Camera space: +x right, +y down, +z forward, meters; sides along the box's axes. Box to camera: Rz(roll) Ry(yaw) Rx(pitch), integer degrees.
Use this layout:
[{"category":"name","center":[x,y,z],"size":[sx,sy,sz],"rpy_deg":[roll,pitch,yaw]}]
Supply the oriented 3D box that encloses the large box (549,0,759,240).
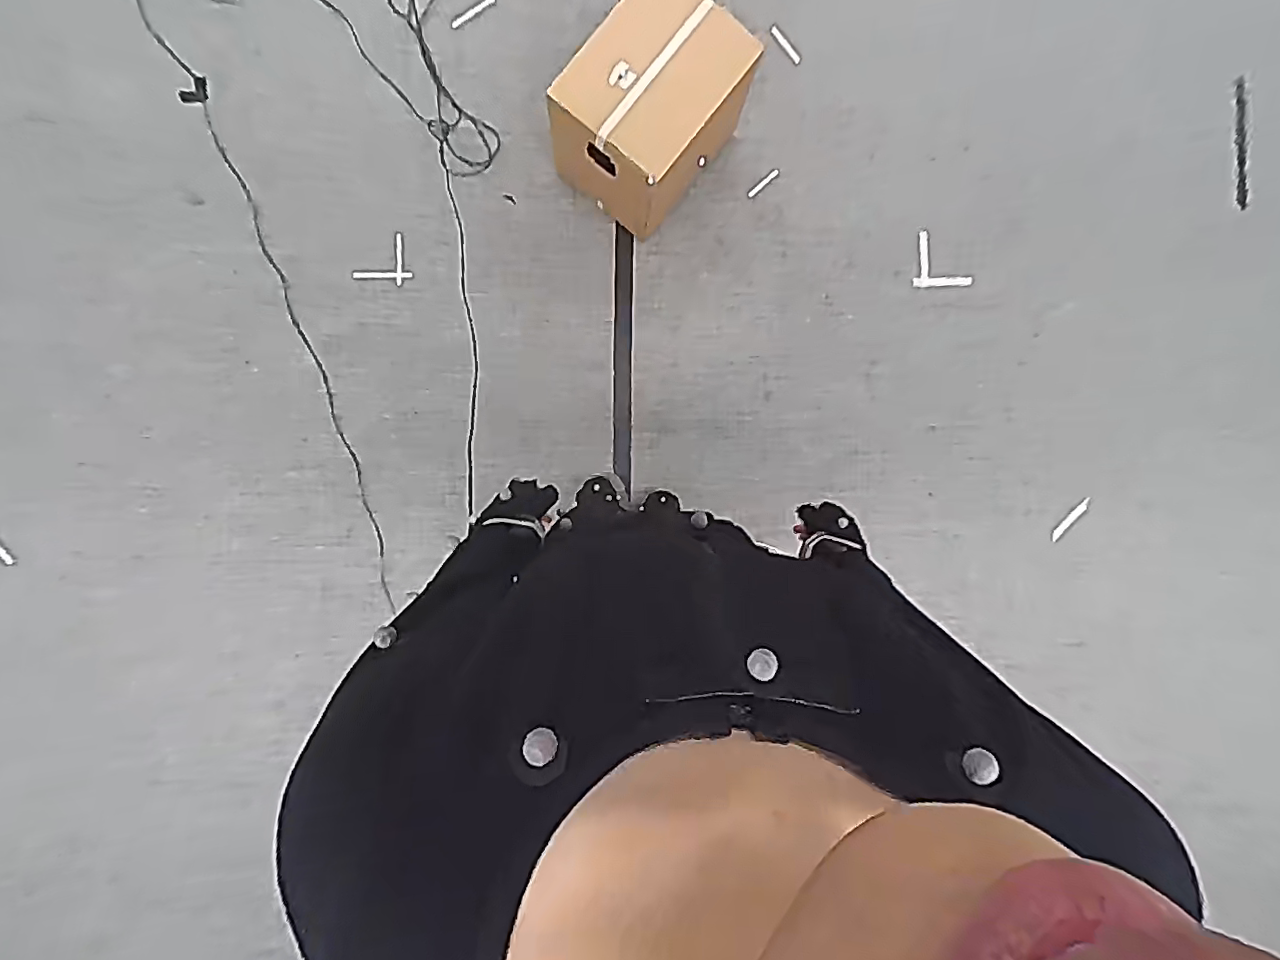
[{"category":"large box","center":[0.025,-0.908,1.354],"size":[0.320,0.320,0.408],"rpy_deg":[38,88,-3]}]
